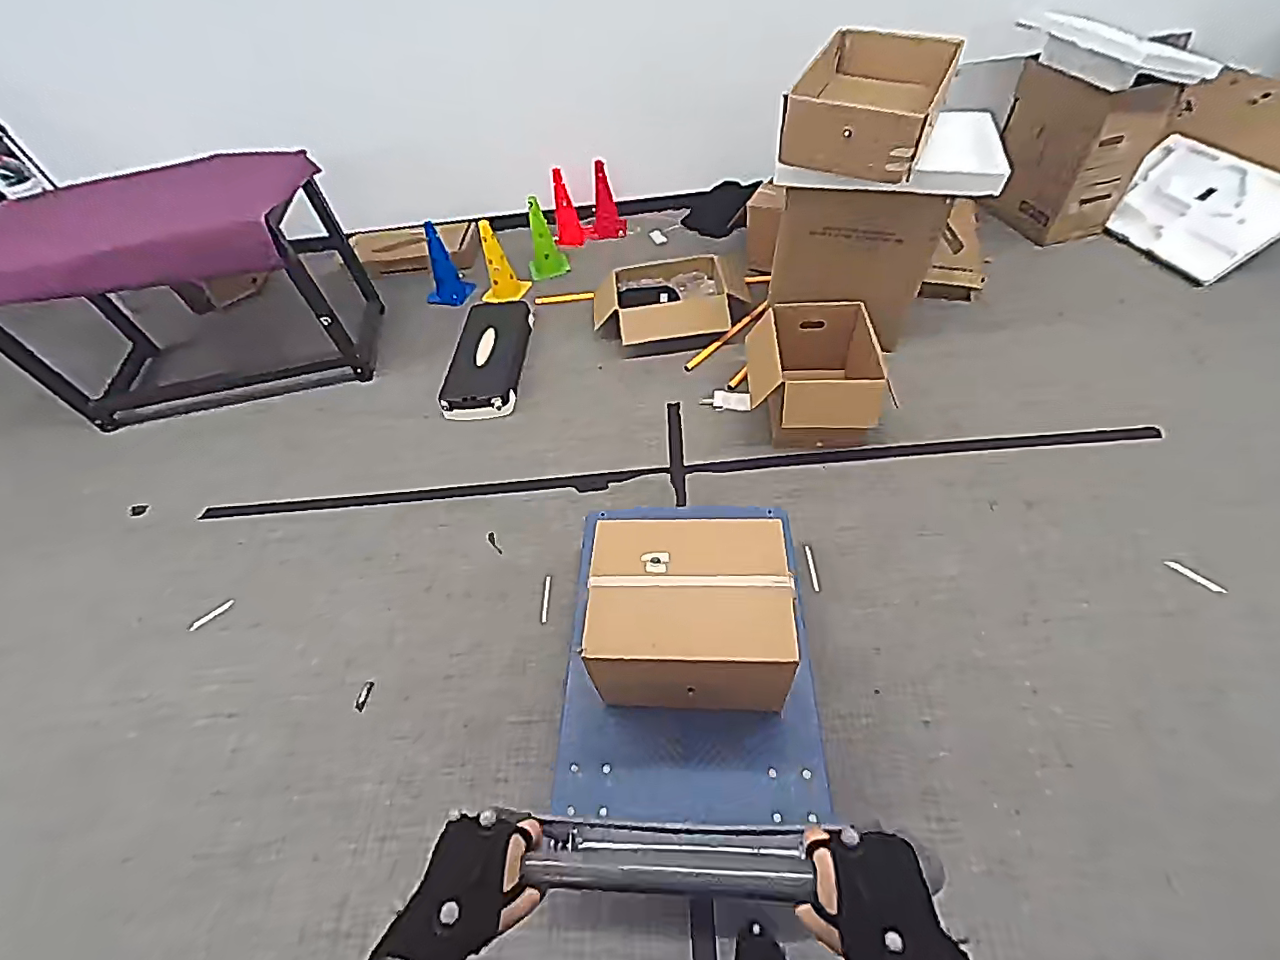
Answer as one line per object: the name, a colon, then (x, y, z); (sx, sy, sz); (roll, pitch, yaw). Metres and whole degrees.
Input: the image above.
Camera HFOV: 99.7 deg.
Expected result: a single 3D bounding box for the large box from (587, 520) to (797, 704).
large box: (0.116, 0.309, 1.227); (0.408, 0.320, 0.320); (-2, 51, 6)
